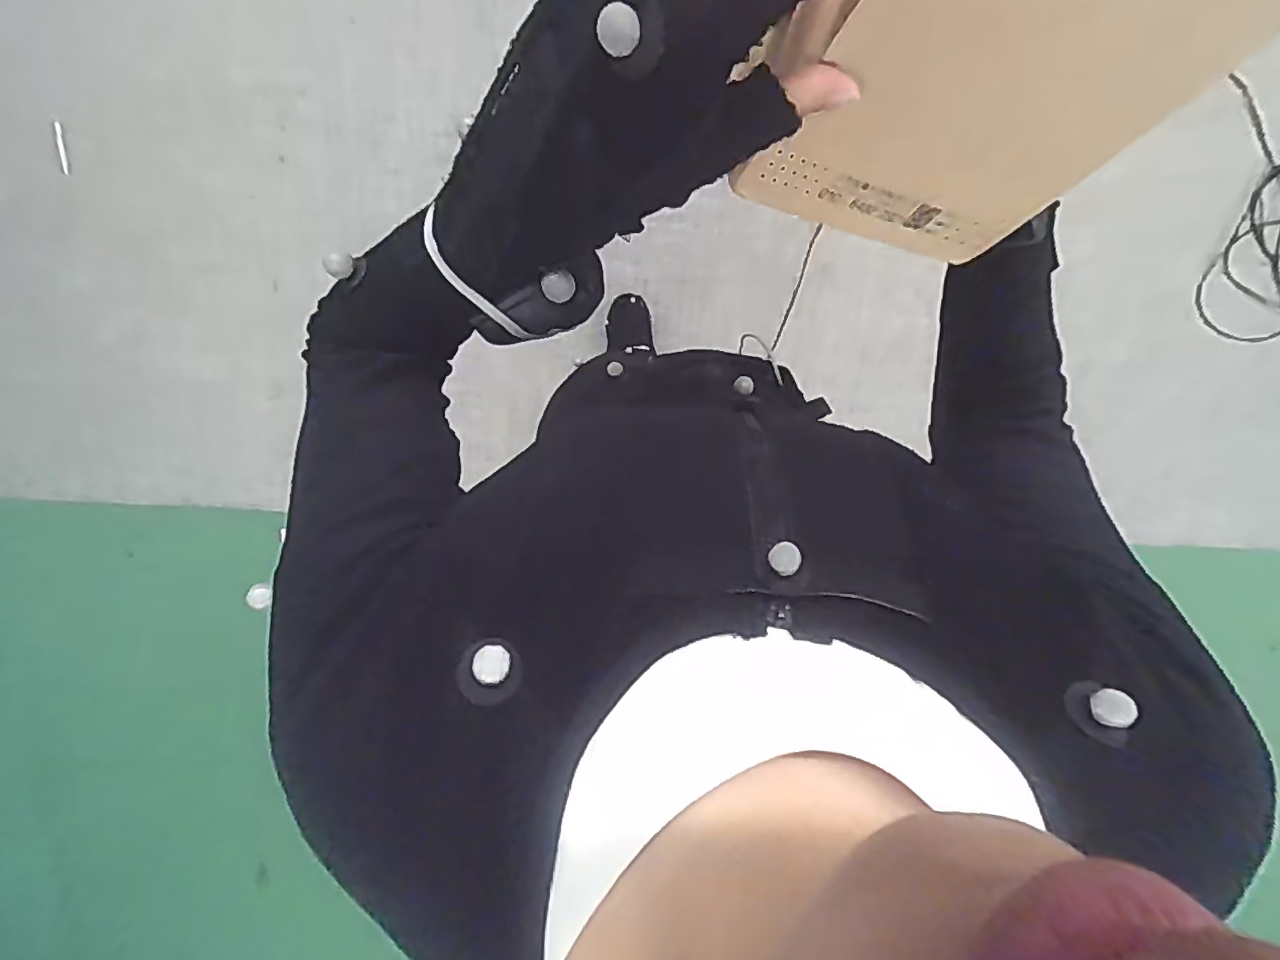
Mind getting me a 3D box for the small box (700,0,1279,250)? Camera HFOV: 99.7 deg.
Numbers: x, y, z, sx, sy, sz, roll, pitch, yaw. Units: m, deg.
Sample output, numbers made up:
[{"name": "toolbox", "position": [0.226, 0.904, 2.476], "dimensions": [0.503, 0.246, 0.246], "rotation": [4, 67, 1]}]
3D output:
[{"name": "small box", "position": [0.140, -0.248, 0.251], "dimensions": [0.168, 0.176, 0.179], "rotation": [4, 69, -23]}]
